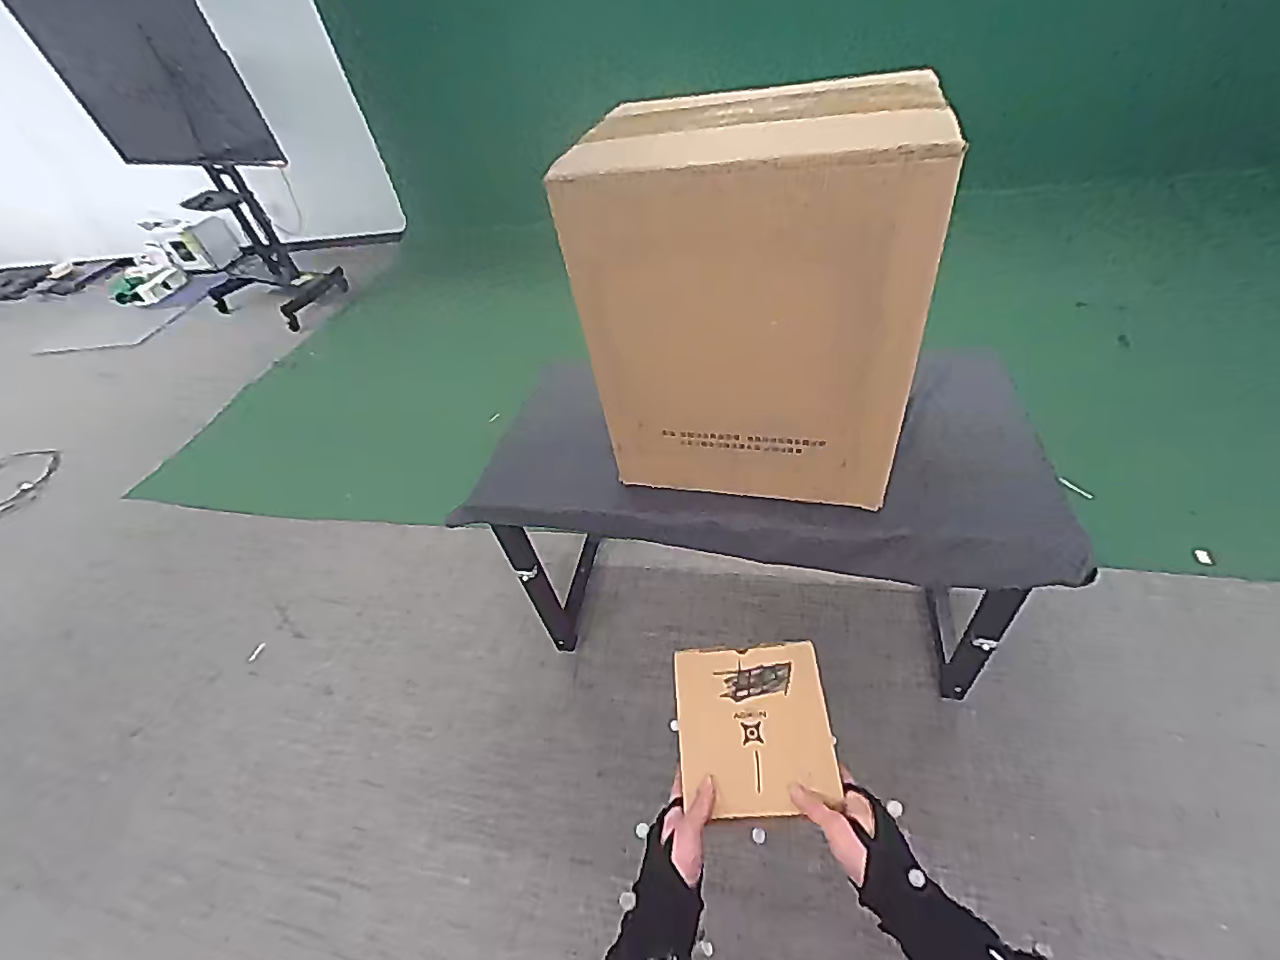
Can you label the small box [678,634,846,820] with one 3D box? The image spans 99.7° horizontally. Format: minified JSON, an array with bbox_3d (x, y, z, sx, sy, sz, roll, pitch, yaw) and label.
[{"bbox_3d":[0.138,0.306,0.663,0.168,0.176,0.179,-7,54,7],"label":"small box"}]
